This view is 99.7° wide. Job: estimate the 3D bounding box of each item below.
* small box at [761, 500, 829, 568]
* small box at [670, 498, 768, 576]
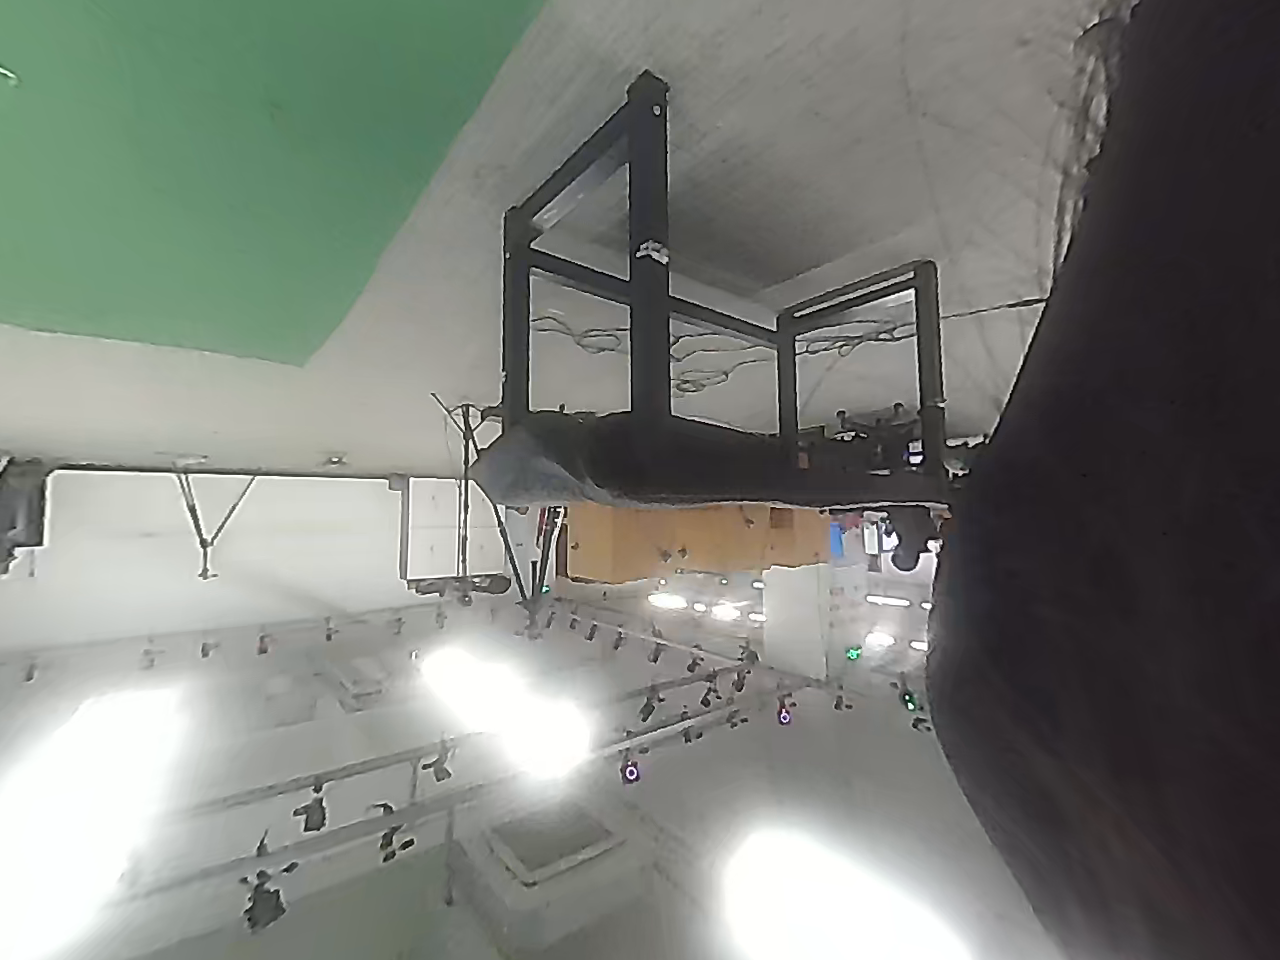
[{"bbox_3d":[0.381,0.139,1.444,0.168,0.176,0.179,3,176,-39],"label":"small box"},{"bbox_3d":[0.190,0.132,1.294,0.168,0.176,0.179,2,176,-38],"label":"small box"}]
